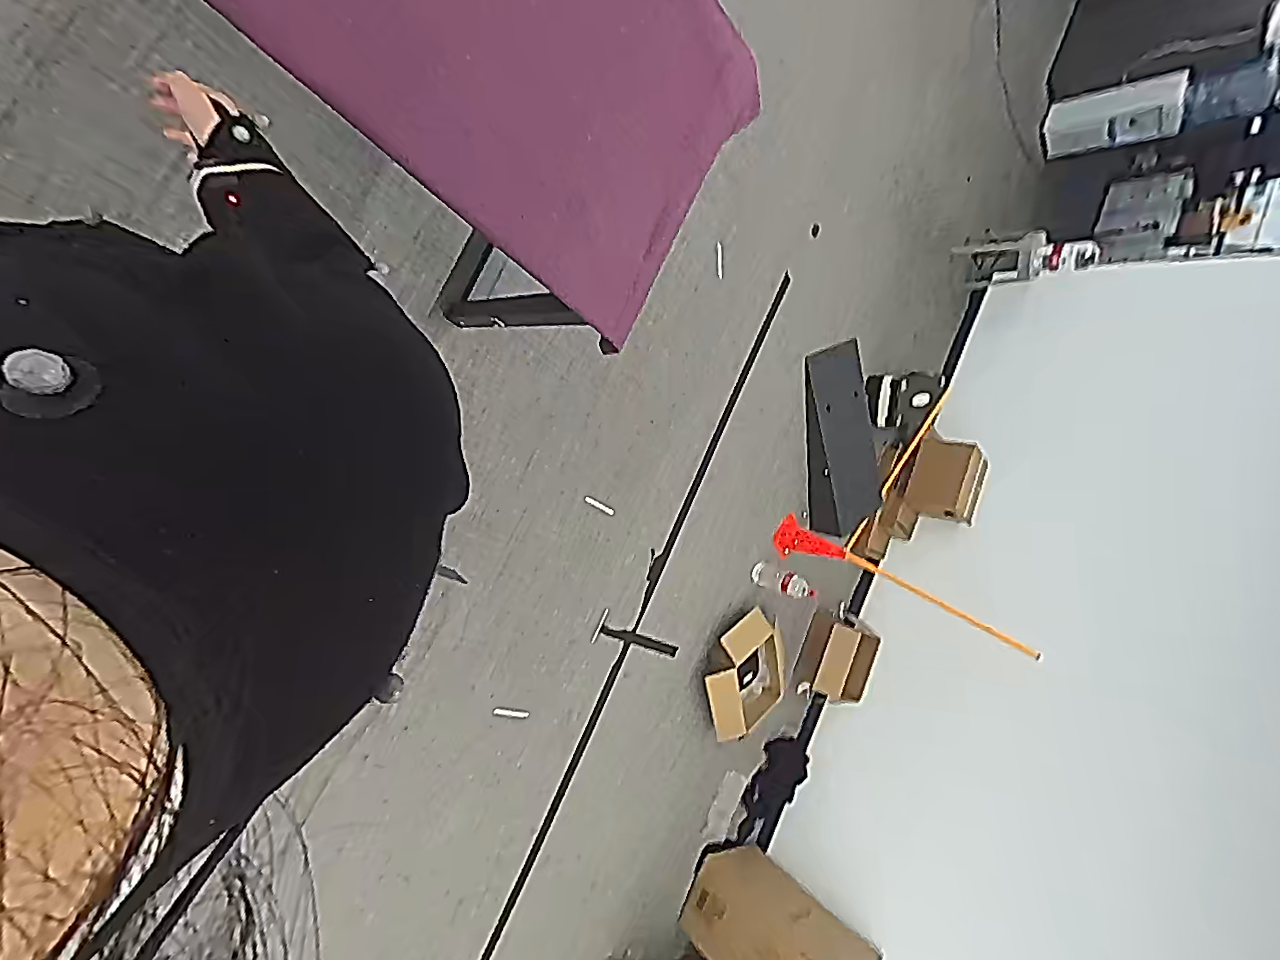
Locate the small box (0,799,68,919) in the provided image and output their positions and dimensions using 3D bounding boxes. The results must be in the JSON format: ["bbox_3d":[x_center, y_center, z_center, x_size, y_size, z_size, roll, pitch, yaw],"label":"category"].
[{"bbox_3d":[-0.781,0.484,0.591,0.168,0.176,0.179,34,80,-43],"label":"small box"}]
